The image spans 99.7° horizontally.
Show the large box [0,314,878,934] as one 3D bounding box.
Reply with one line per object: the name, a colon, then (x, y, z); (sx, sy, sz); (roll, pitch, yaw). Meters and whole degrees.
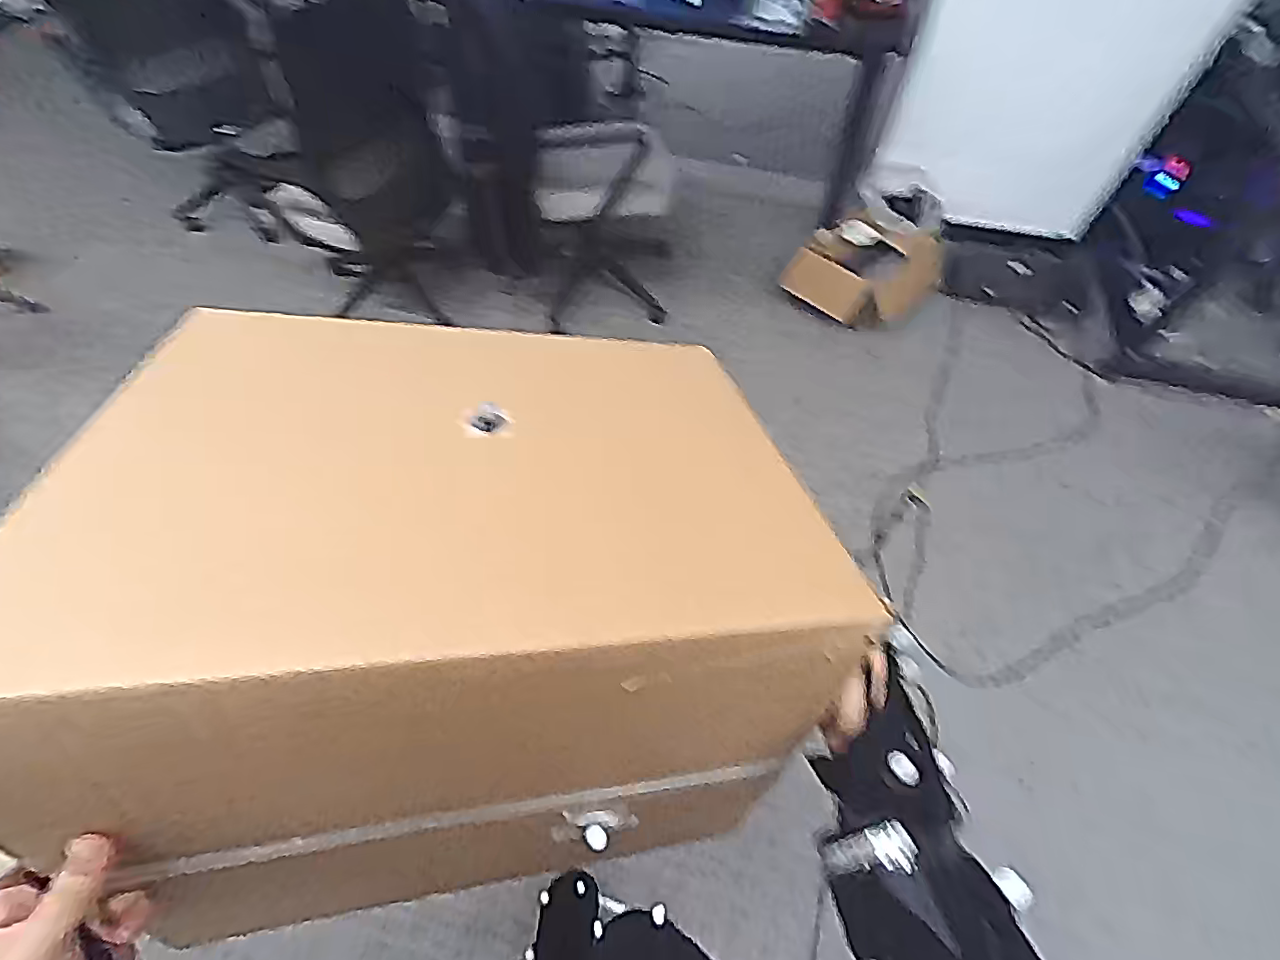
large box: (-0.123, 0.082, 0.429); (0.408, 0.320, 0.320); (-1, 41, -17)
